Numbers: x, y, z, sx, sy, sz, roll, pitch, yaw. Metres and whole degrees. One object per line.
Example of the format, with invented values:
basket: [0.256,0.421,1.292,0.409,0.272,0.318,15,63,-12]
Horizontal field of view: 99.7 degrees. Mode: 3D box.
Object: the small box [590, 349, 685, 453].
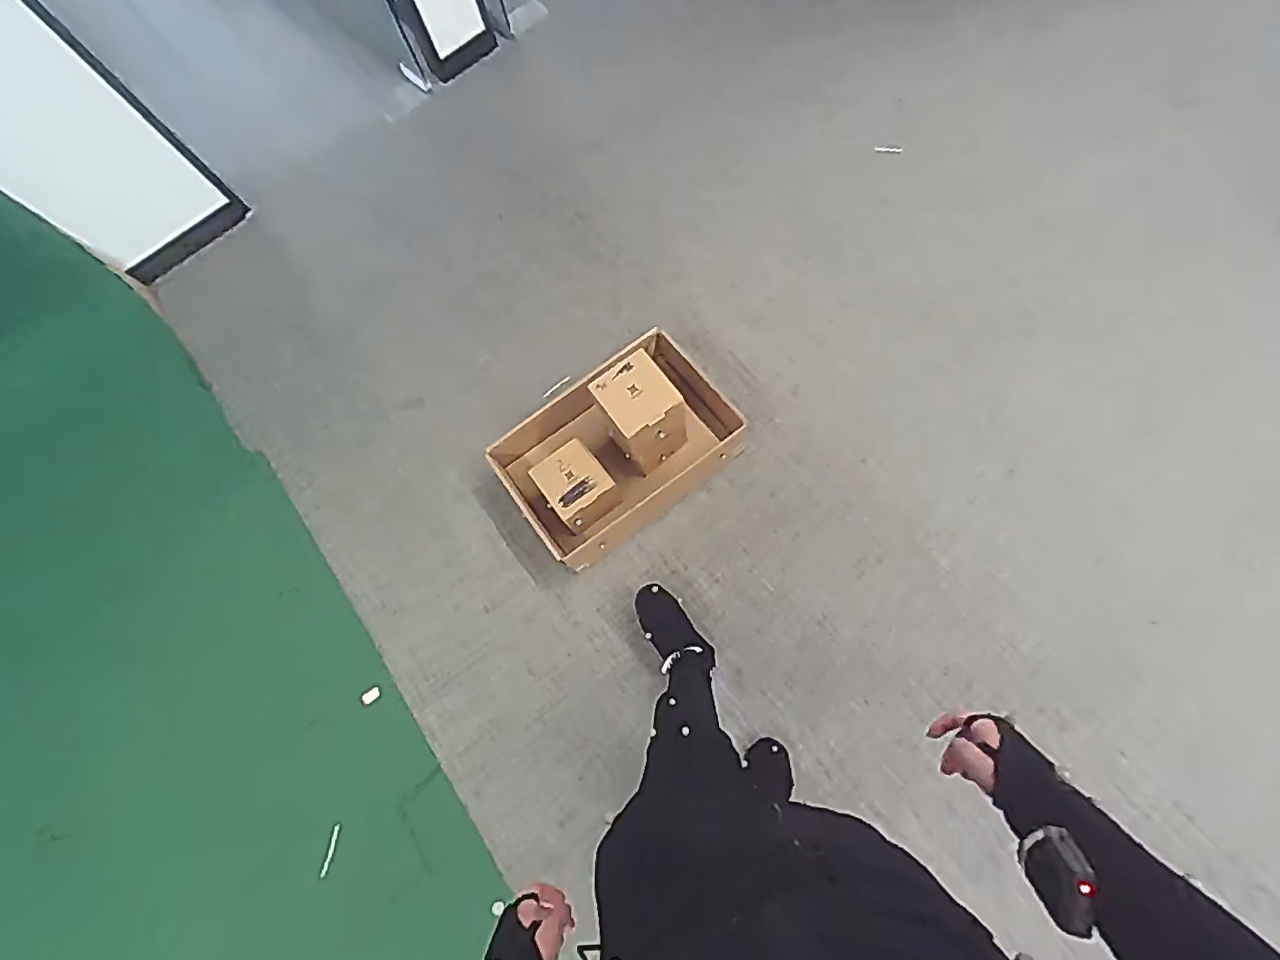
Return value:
small box: [0.002,-0.186,1.355,0.168,0.176,0.179,-35,74,-4]
